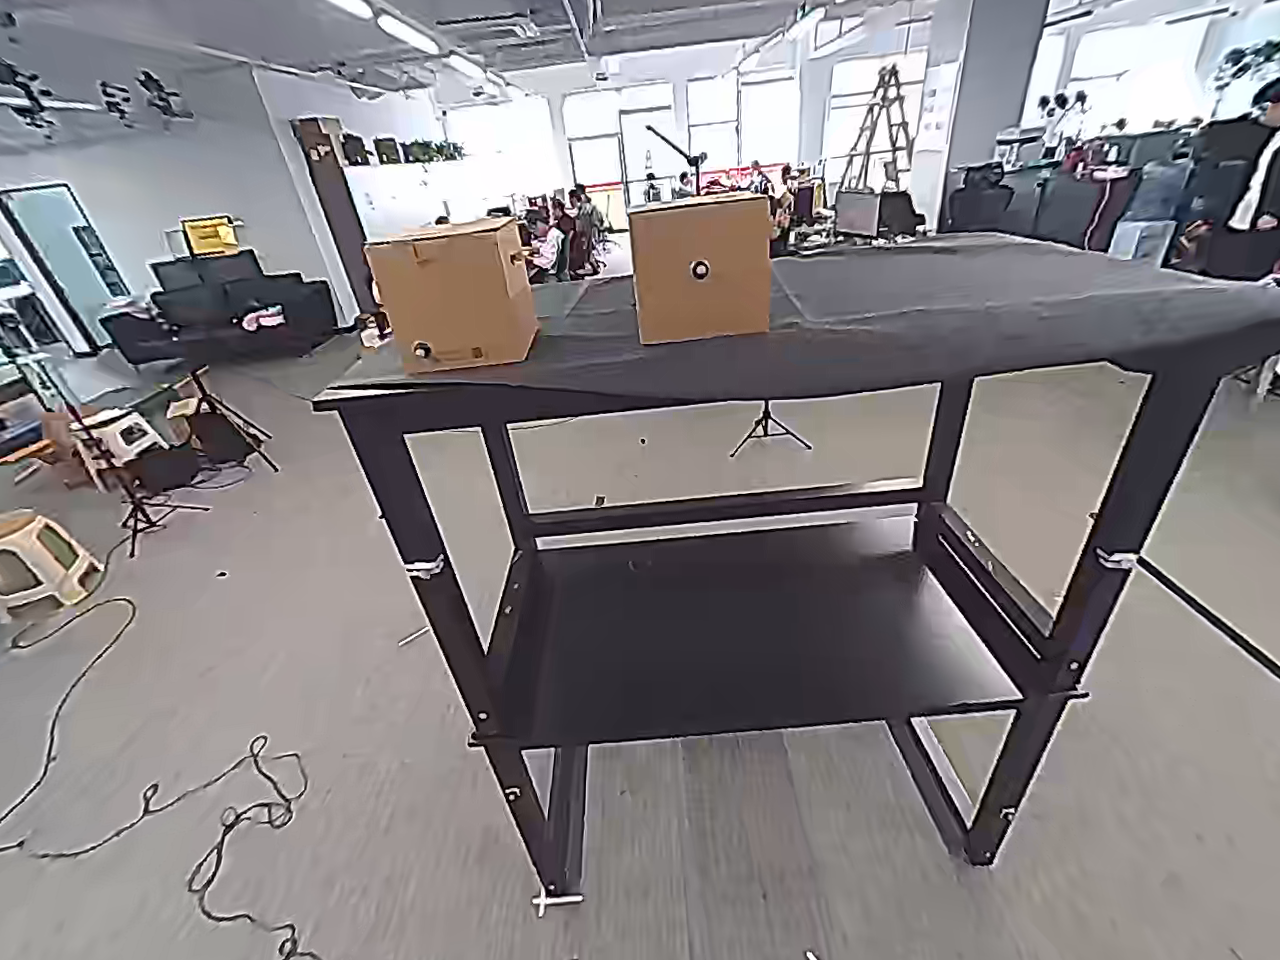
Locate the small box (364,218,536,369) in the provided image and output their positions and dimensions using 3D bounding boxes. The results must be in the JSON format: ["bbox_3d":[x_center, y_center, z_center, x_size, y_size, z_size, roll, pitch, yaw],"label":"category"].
[{"bbox_3d":[-0.251,-0.262,0.767,0.168,0.176,0.179,-6,31,0],"label":"small box"}]
